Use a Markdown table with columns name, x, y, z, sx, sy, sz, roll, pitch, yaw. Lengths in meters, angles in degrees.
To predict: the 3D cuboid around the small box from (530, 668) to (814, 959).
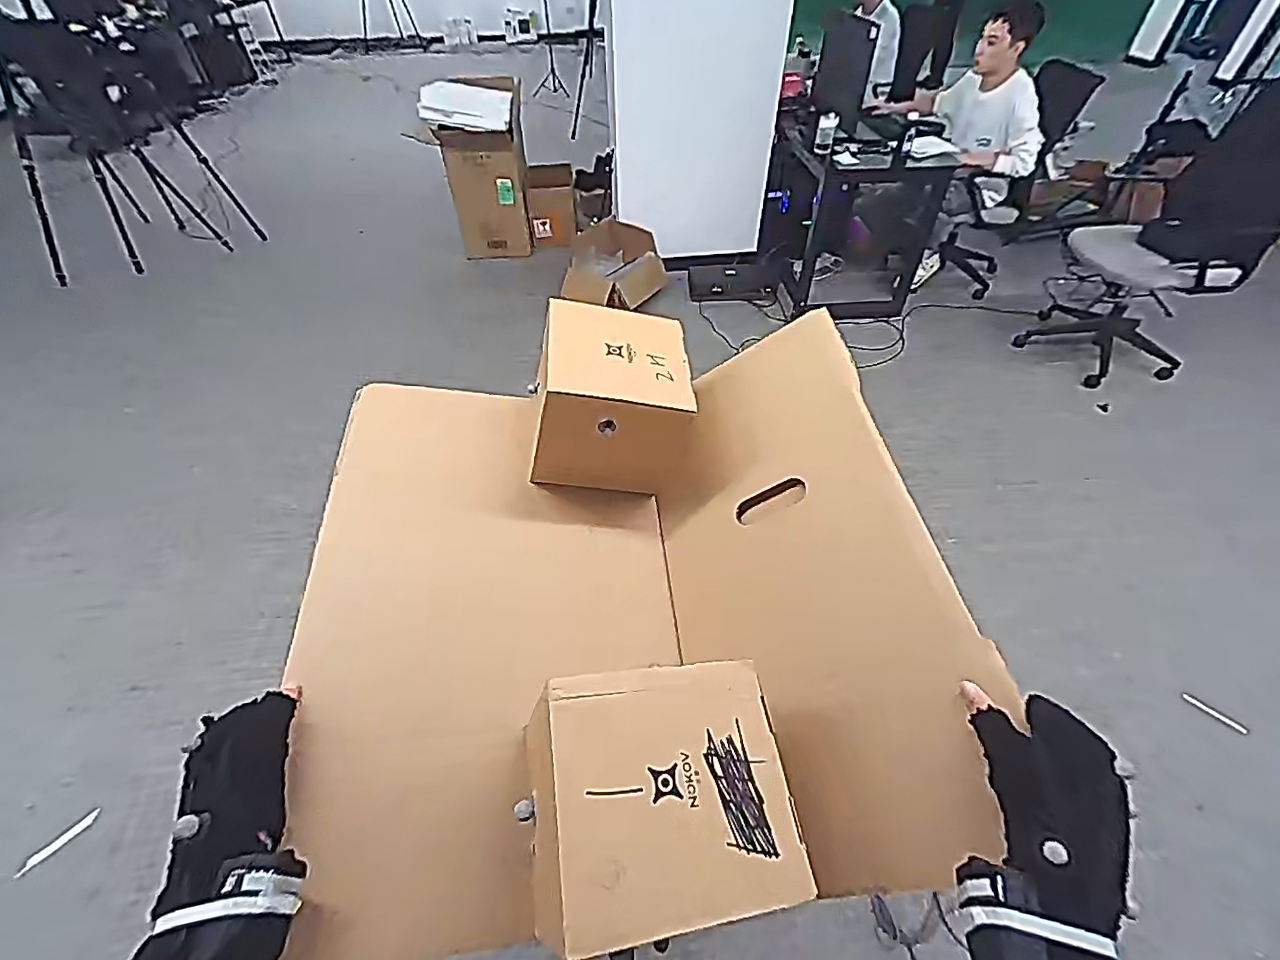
| name | x | y | z | sx | sy | sz | roll | pitch | yaw |
| --- | --- | --- | --- | --- | --- | --- | --- | --- | --- |
| small box | 0.007 | 0.268 | 0.452 | 0.179 | 0.176 | 0.168 | 1 | 55 | -17 |

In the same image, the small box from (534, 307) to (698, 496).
| name | x | y | z | sx | sy | sz | roll | pitch | yaw |
| --- | --- | --- | --- | --- | --- | --- | --- | --- | --- |
| small box | -0.040 | -0.094 | 0.709 | 0.179 | 0.176 | 0.168 | 7 | 52 | -14 |
